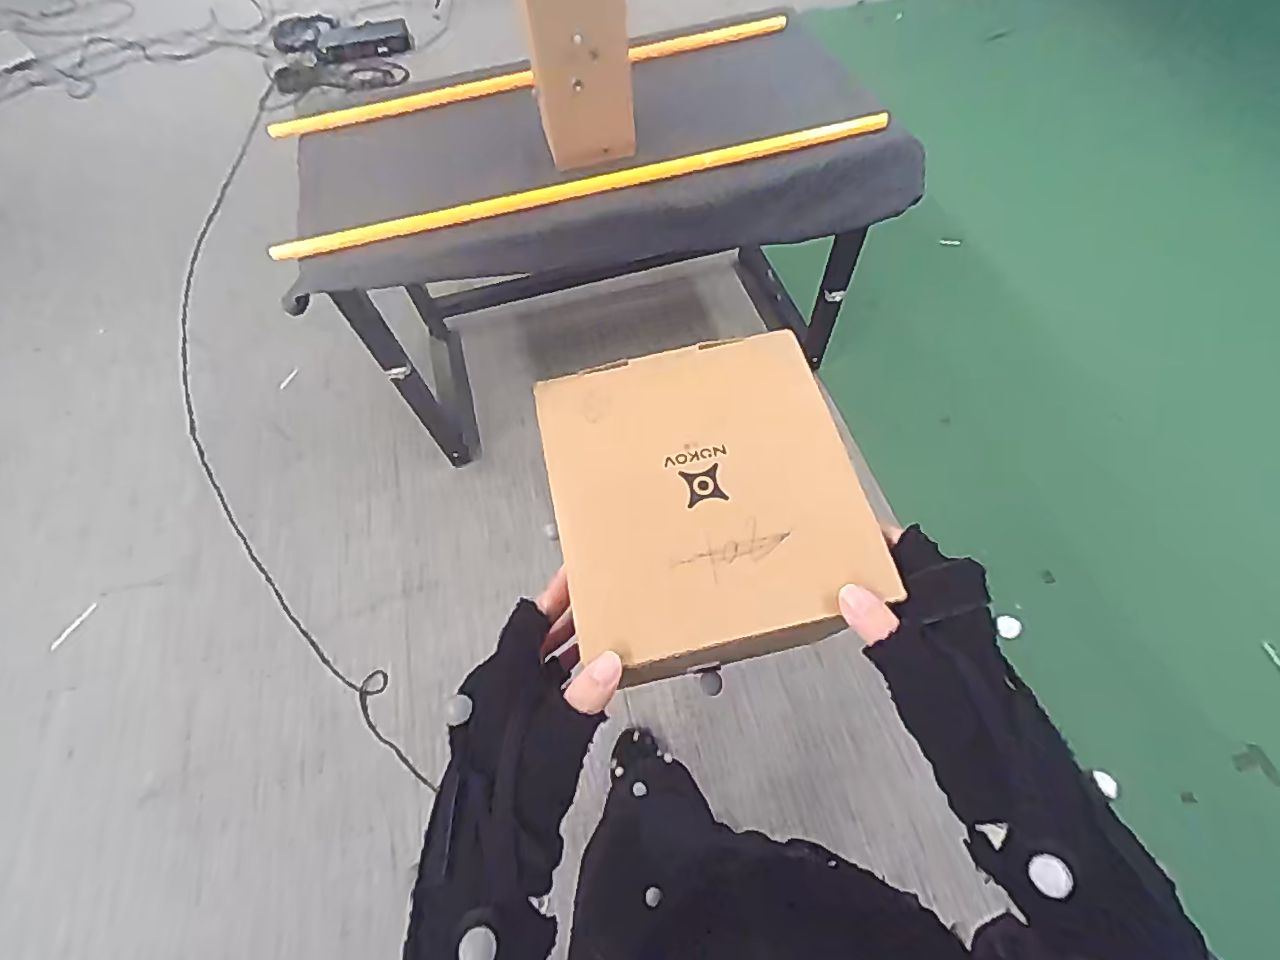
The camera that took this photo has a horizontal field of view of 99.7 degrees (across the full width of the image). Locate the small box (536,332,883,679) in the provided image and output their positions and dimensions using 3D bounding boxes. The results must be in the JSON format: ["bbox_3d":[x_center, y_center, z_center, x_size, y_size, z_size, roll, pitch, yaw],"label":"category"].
[{"bbox_3d":[0.032,0.029,0.382,0.168,0.176,0.179,-12,66,-3],"label":"small box"}]

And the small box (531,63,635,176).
[{"bbox_3d":[-0.113,-0.741,1.071,0.168,0.176,0.179,-15,61,-4],"label":"small box"}]

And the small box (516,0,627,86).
[{"bbox_3d":[-0.124,-0.818,0.927,0.168,0.176,0.179,-15,62,-5],"label":"small box"}]
